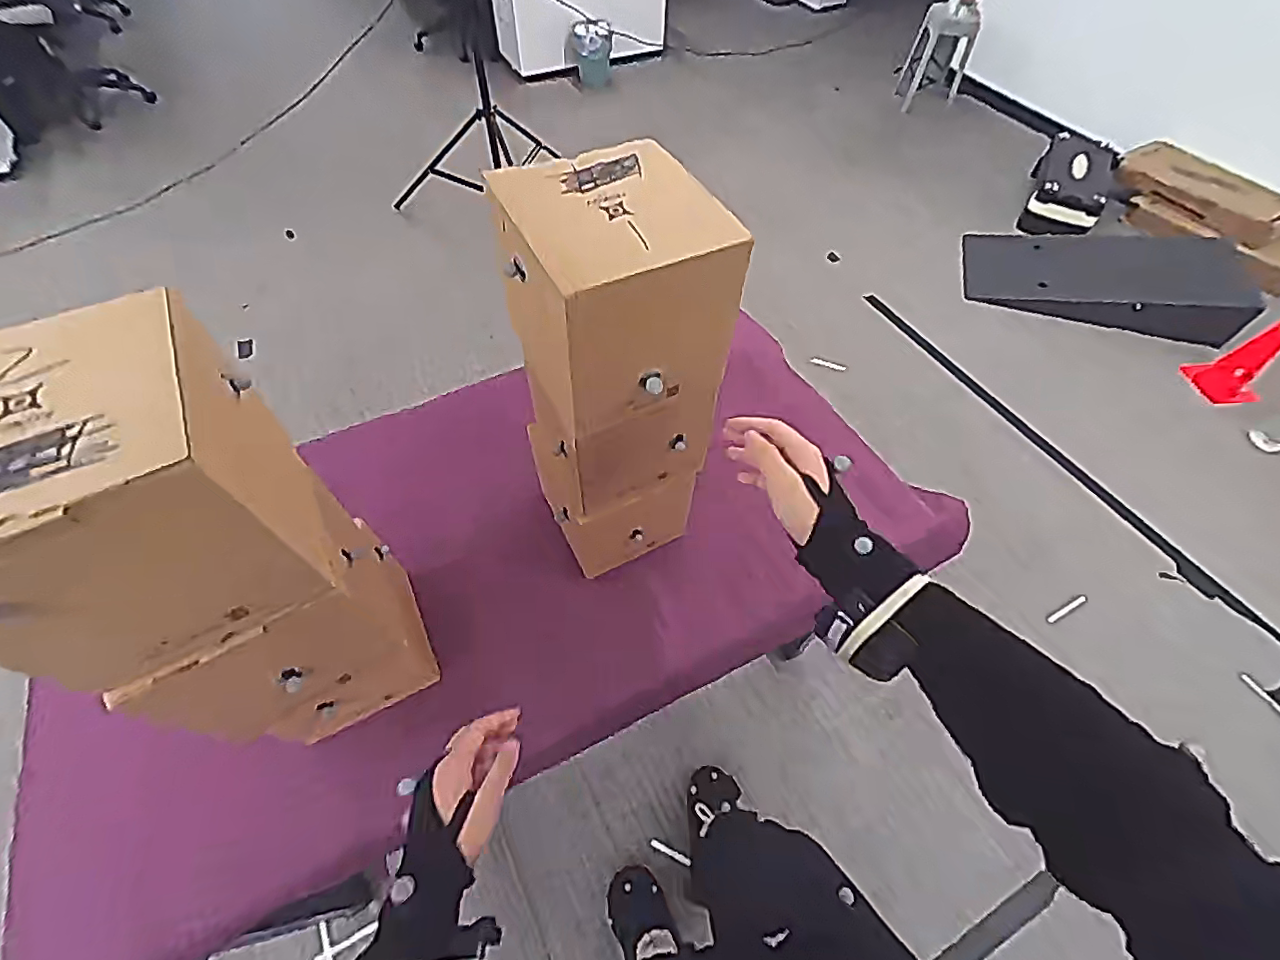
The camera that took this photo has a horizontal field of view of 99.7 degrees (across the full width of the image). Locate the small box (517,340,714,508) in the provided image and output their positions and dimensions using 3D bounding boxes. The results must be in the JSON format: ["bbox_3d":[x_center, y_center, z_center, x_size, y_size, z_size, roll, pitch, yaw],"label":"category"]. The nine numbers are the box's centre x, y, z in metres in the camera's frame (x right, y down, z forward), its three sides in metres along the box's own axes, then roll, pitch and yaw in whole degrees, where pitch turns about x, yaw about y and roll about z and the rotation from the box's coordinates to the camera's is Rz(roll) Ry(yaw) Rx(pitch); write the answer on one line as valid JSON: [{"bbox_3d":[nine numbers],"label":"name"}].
[{"bbox_3d":[-0.031,-0.087,0.648,0.168,0.176,0.179,-22,59,-16],"label":"small box"}]

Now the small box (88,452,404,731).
[{"bbox_3d":[-0.351,0.112,0.509,0.168,0.176,0.179,-28,62,-19],"label":"small box"}]

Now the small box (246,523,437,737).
[{"bbox_3d":[-0.367,0.189,0.655,0.168,0.176,0.179,-24,60,-16],"label":"small box"}]

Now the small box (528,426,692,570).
[{"bbox_3d":[-0.043,0.010,0.778,0.168,0.176,0.179,-23,60,-16],"label":"small box"}]

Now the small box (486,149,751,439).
[{"bbox_3d":[-0.026,-0.170,0.506,0.168,0.176,0.179,-23,61,-16],"label":"small box"}]
